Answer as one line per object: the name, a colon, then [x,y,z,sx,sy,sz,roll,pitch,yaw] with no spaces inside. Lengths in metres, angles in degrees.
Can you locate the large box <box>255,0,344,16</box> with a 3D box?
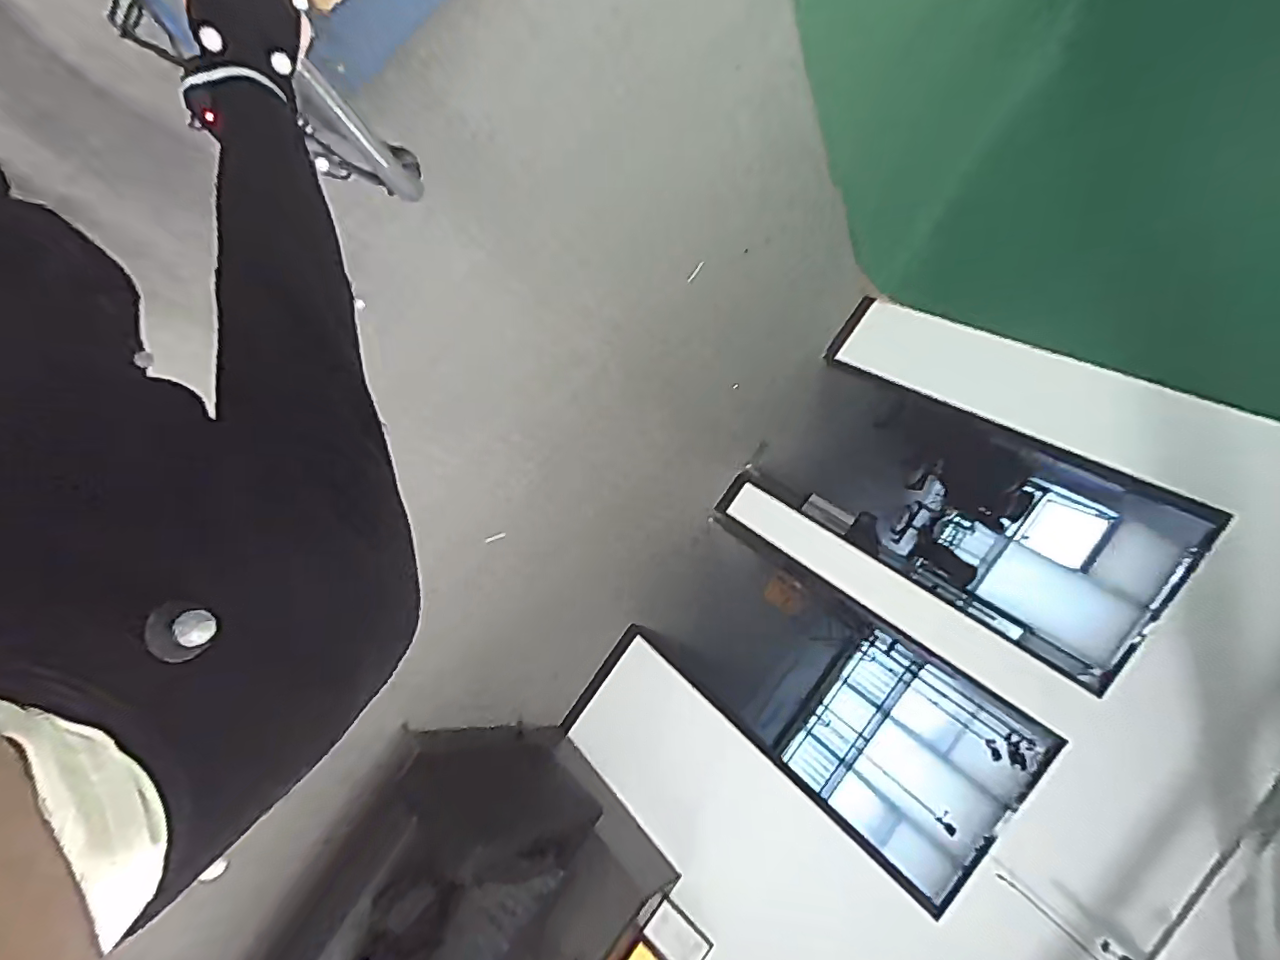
large box: [-0.504,-0.979,0.789,0.408,0.320,0.320,-50,146,-7]
